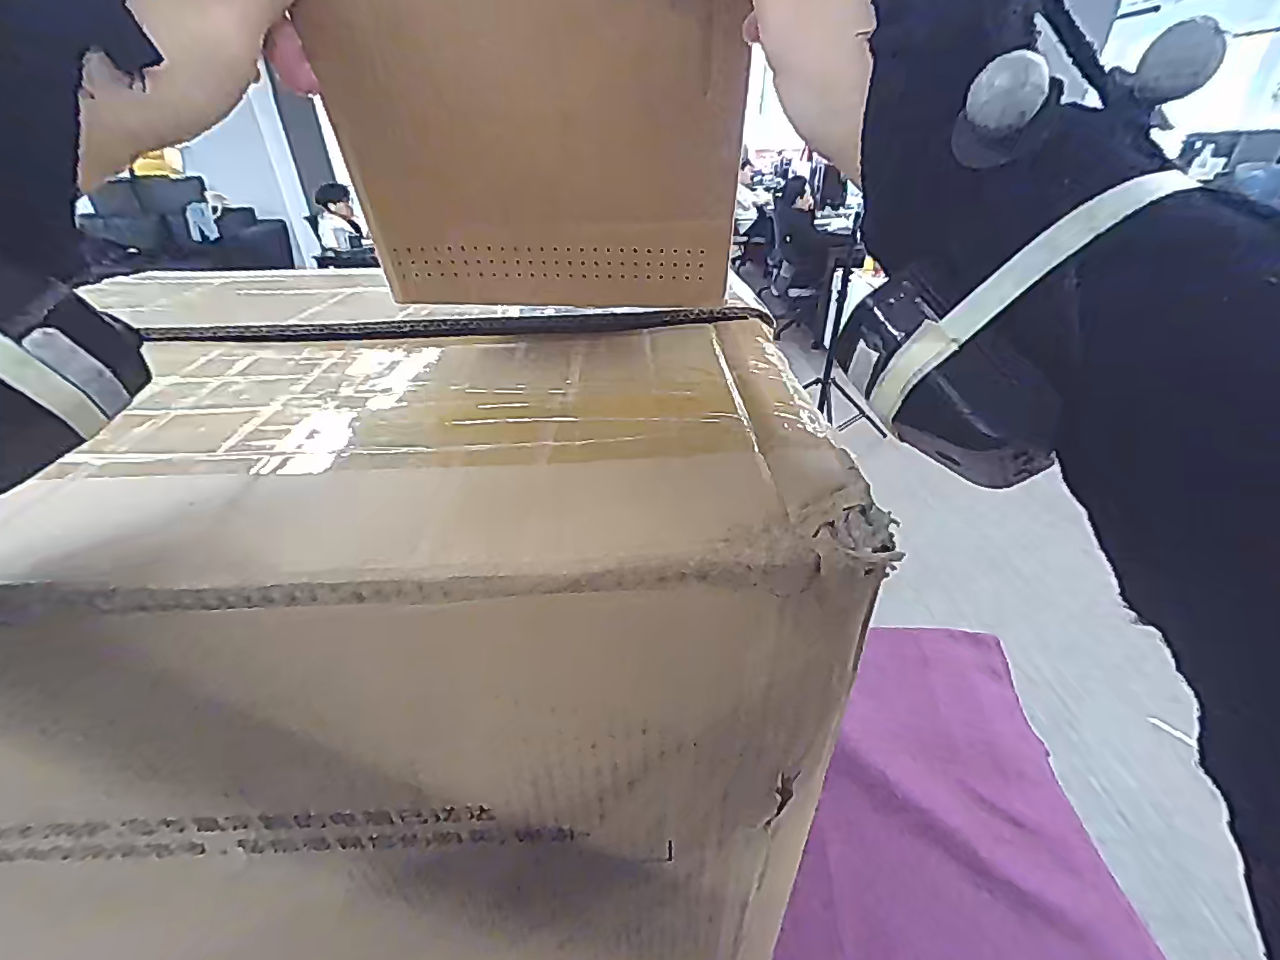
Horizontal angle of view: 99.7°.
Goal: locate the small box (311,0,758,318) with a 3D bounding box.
[{"bbox_3d":[-0.040,-0.198,0.279,0.179,0.176,0.168,1,46,0],"label":"small box"}]
